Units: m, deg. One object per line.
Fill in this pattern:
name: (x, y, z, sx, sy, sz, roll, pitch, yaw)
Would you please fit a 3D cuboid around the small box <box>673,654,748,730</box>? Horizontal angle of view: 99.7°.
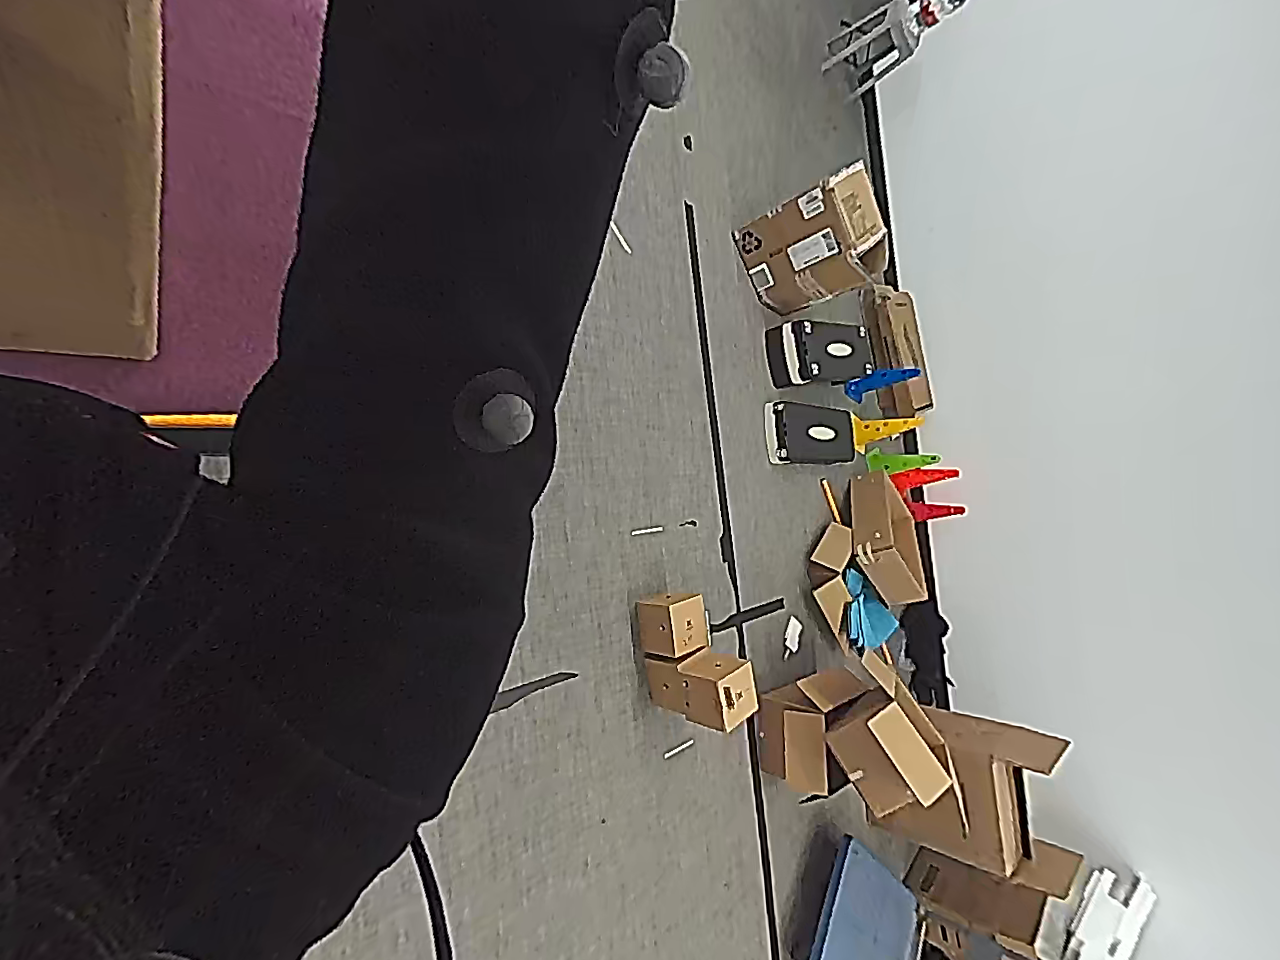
small box: (0.223, 0.684, 1.763, 0.179, 0.176, 0.168, -12, 93, -44)
